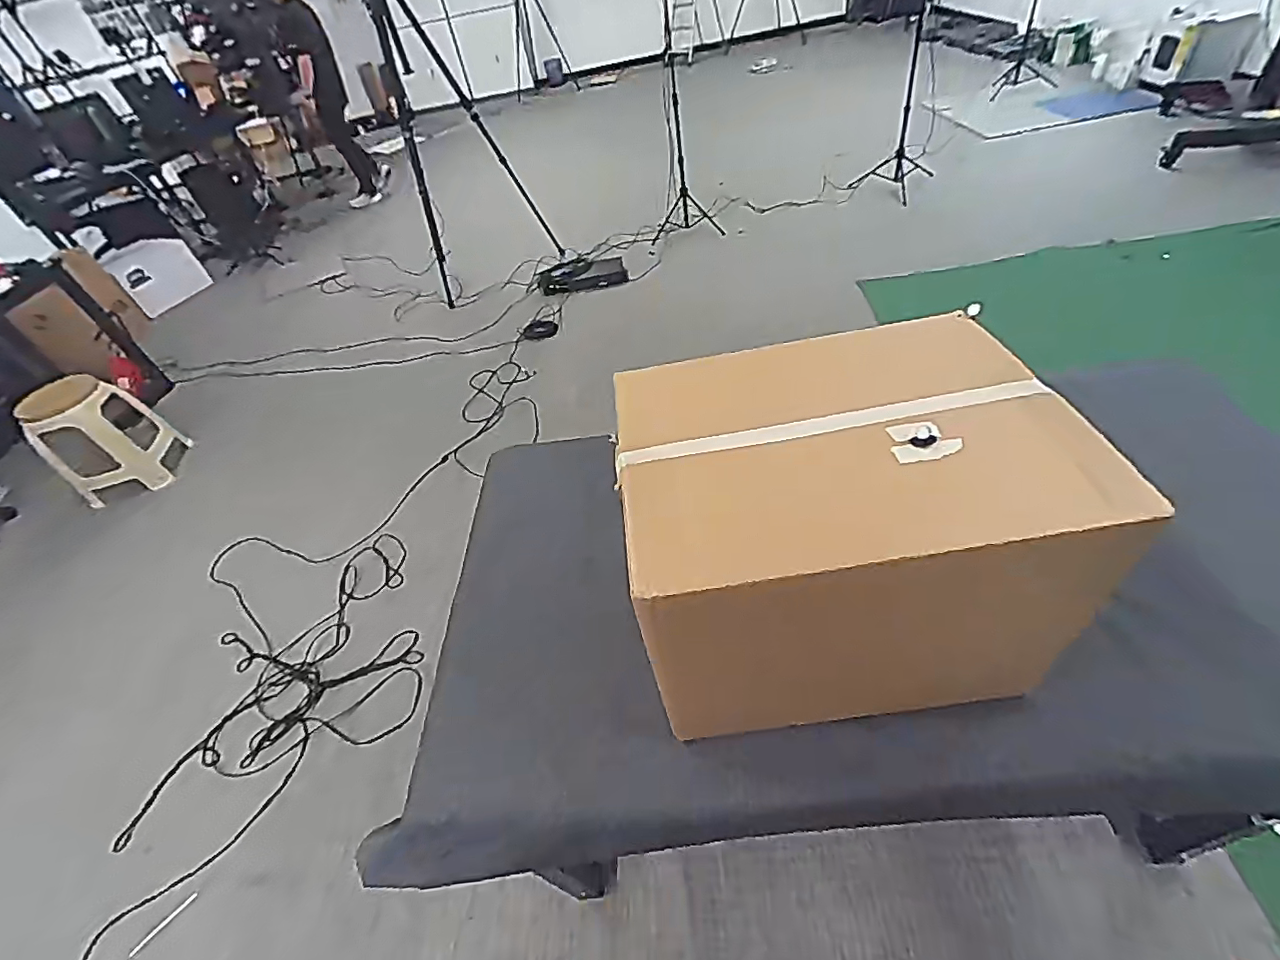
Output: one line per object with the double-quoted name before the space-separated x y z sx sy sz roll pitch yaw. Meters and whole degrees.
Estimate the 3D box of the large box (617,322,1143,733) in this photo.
"large box" 0.201 0.058 0.630 0.408 0.320 0.320 -9 45 2
